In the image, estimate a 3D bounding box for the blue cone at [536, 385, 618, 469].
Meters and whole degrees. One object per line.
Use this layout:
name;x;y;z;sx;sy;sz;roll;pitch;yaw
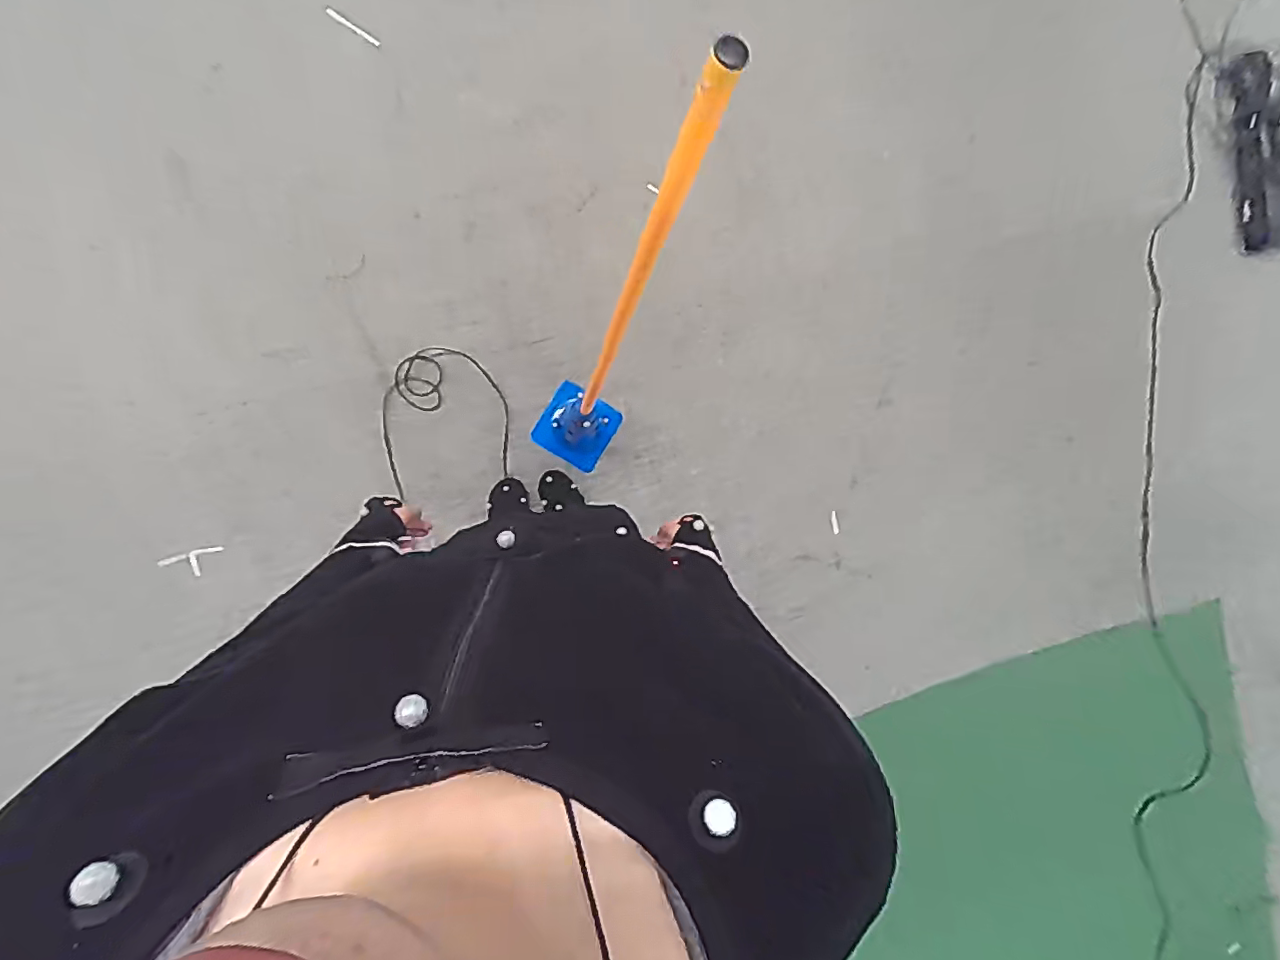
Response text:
blue cone;-0.143;-0.151;1.326;0.192;0.380;0.193;31;83;-9
